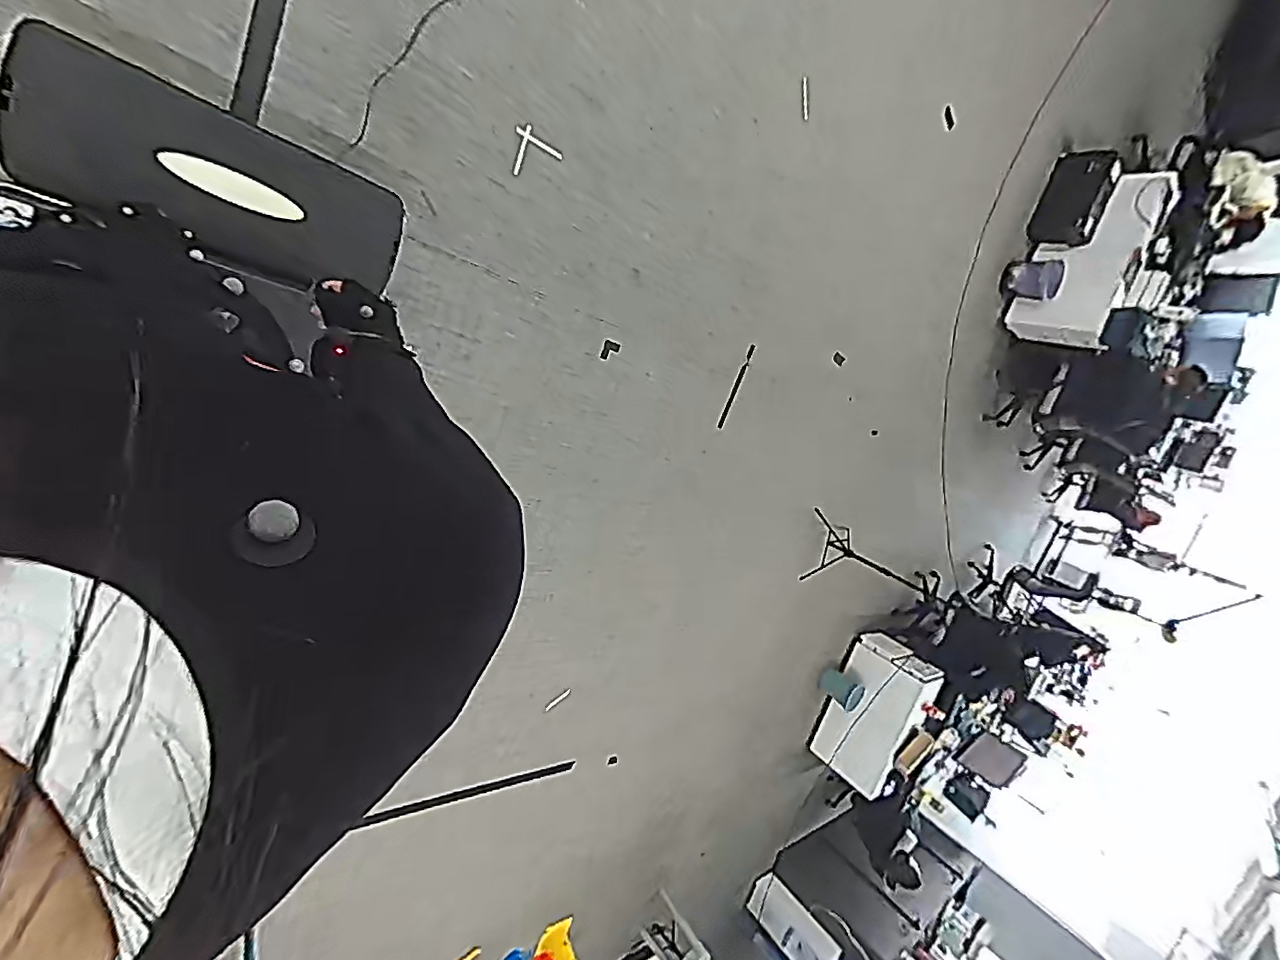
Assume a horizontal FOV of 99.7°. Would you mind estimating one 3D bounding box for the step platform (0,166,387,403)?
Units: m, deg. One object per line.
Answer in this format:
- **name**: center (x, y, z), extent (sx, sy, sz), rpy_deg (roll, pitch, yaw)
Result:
- **step platform**: center (-0.934, -0.381, 1.182), extent (0.684, 0.204, 0.286), rpy_deg (10, 103, -42)
